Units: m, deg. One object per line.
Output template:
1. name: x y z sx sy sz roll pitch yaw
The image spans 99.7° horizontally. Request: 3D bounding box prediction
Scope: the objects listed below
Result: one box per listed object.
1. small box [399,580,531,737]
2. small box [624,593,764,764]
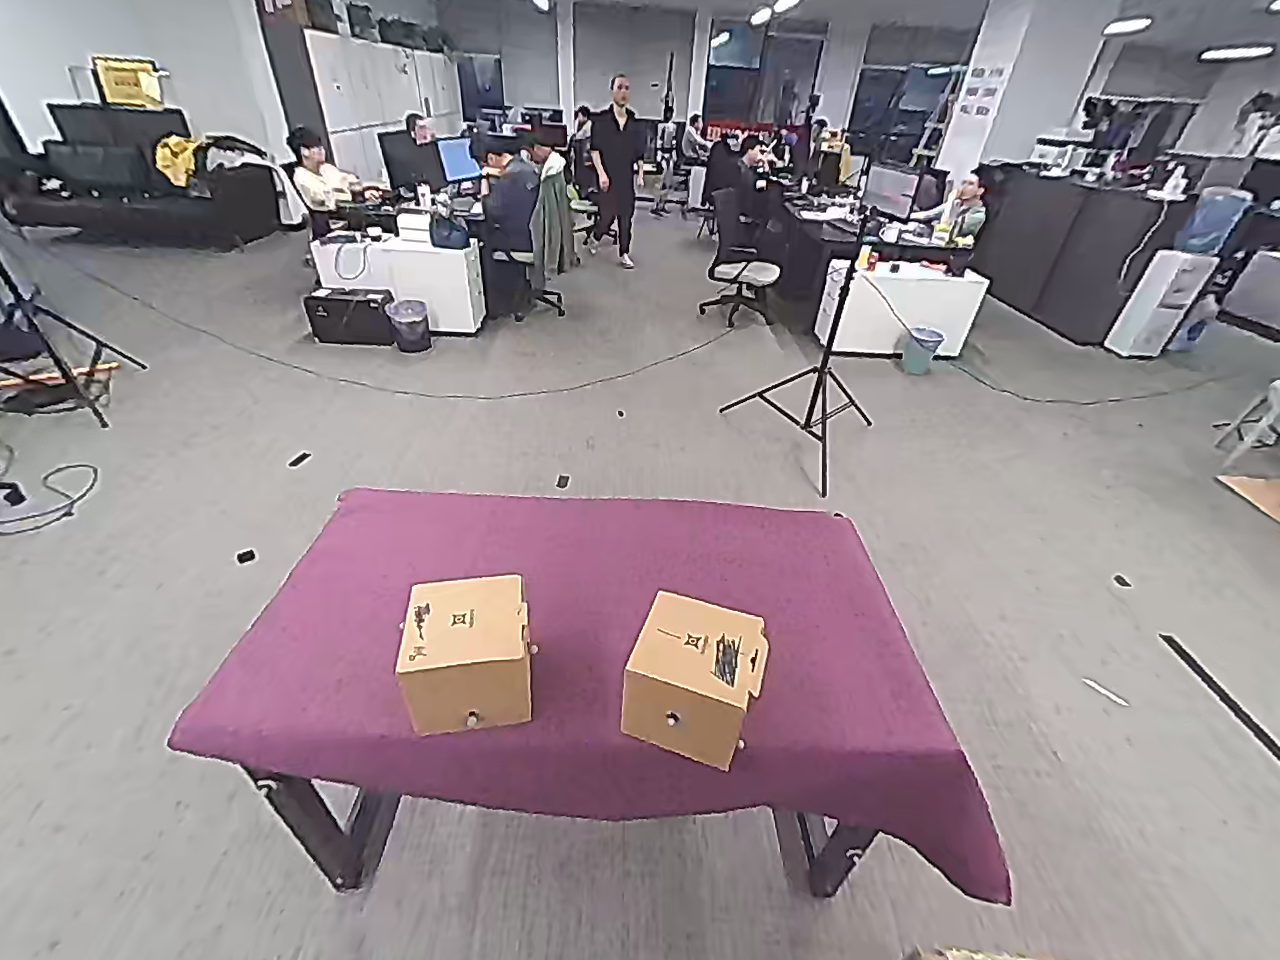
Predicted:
1. small box: -0.266 0.283 0.865 0.179 0.176 0.168 -3 35 -11
2. small box: 0.084 0.313 0.852 0.179 0.176 0.168 13 36 15
